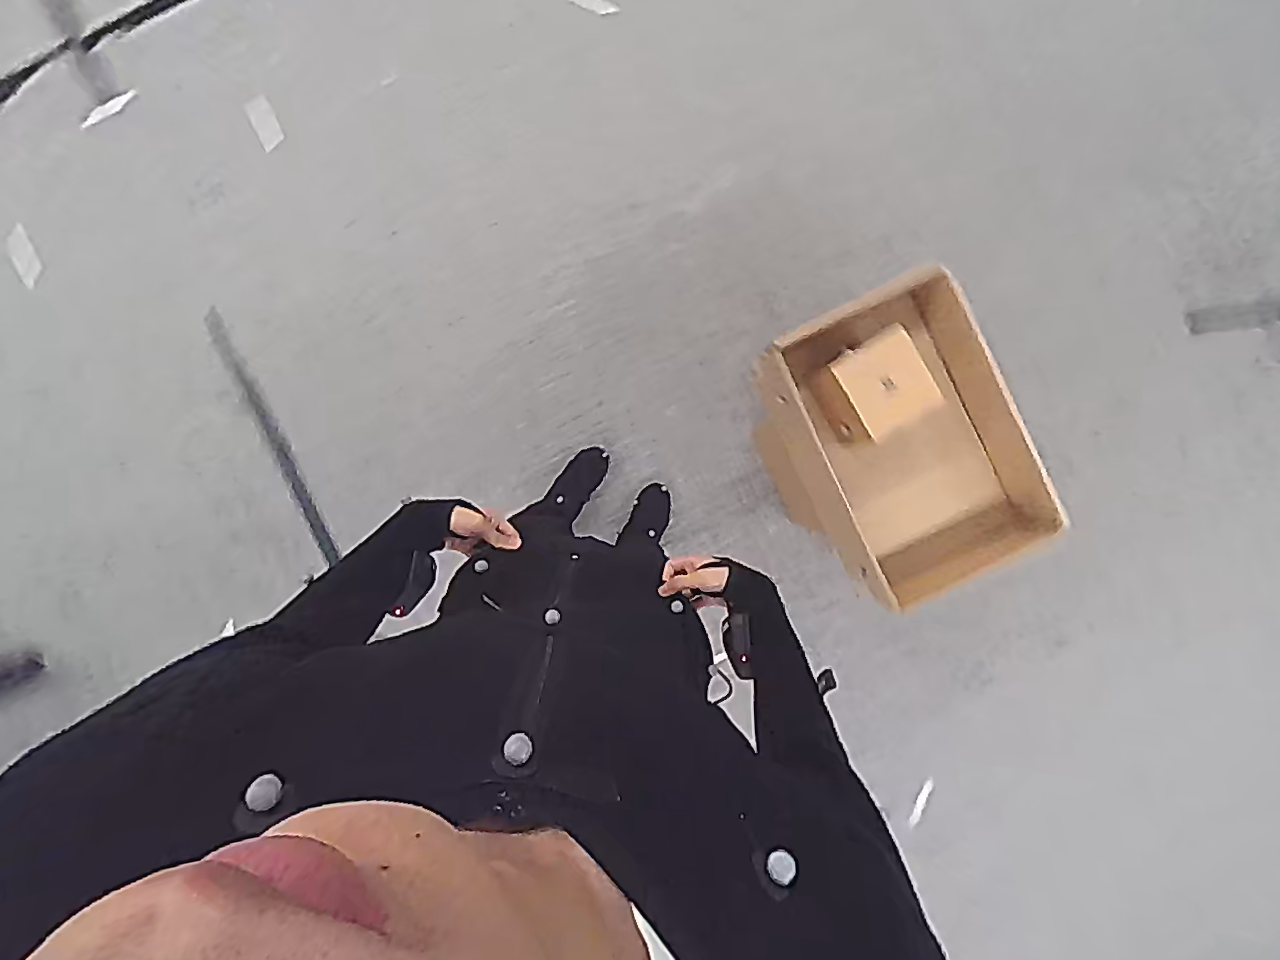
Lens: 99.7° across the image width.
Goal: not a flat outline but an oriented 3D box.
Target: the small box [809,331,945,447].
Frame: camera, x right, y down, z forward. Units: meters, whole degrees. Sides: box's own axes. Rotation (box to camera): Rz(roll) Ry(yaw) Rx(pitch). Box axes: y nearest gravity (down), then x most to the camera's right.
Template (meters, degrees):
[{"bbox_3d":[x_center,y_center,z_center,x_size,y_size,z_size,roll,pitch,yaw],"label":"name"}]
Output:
[{"bbox_3d":[0.486,-0.182,1.134,0.168,0.176,0.179,-30,91,0],"label":"small box"}]
